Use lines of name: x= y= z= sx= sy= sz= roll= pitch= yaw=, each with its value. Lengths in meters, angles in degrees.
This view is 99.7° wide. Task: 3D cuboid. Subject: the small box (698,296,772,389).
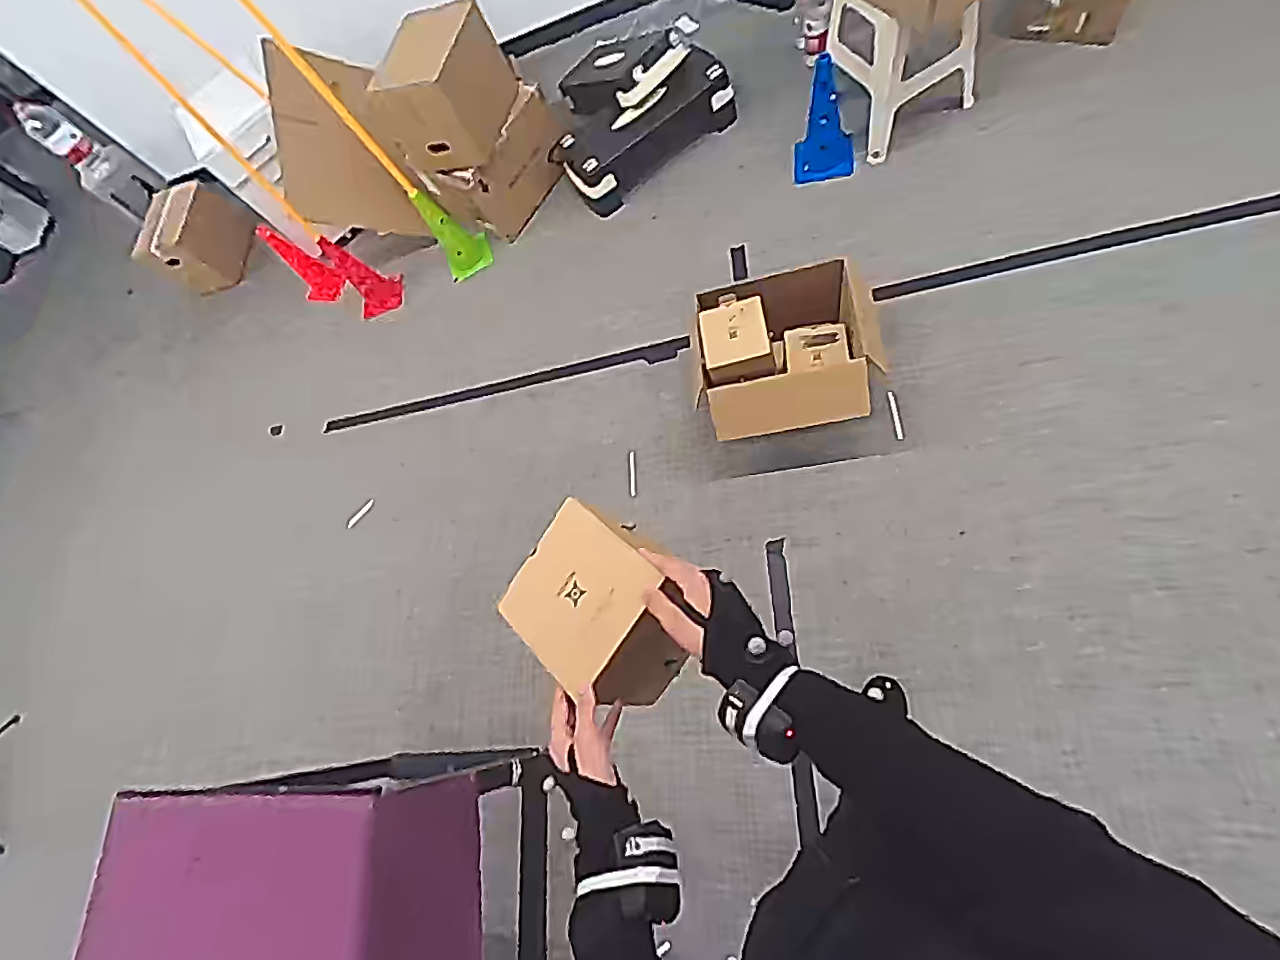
small box: x=0.261 y=-0.362 z=1.468 sx=0.168 sy=0.176 sz=0.179 roll=-10 pitch=69 yaw=15

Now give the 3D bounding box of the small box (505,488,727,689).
small box: x=-0.027 y=0.142 z=0.672 sx=0.179 sy=0.176 sz=0.168 roll=38 pitch=93 yaw=38
